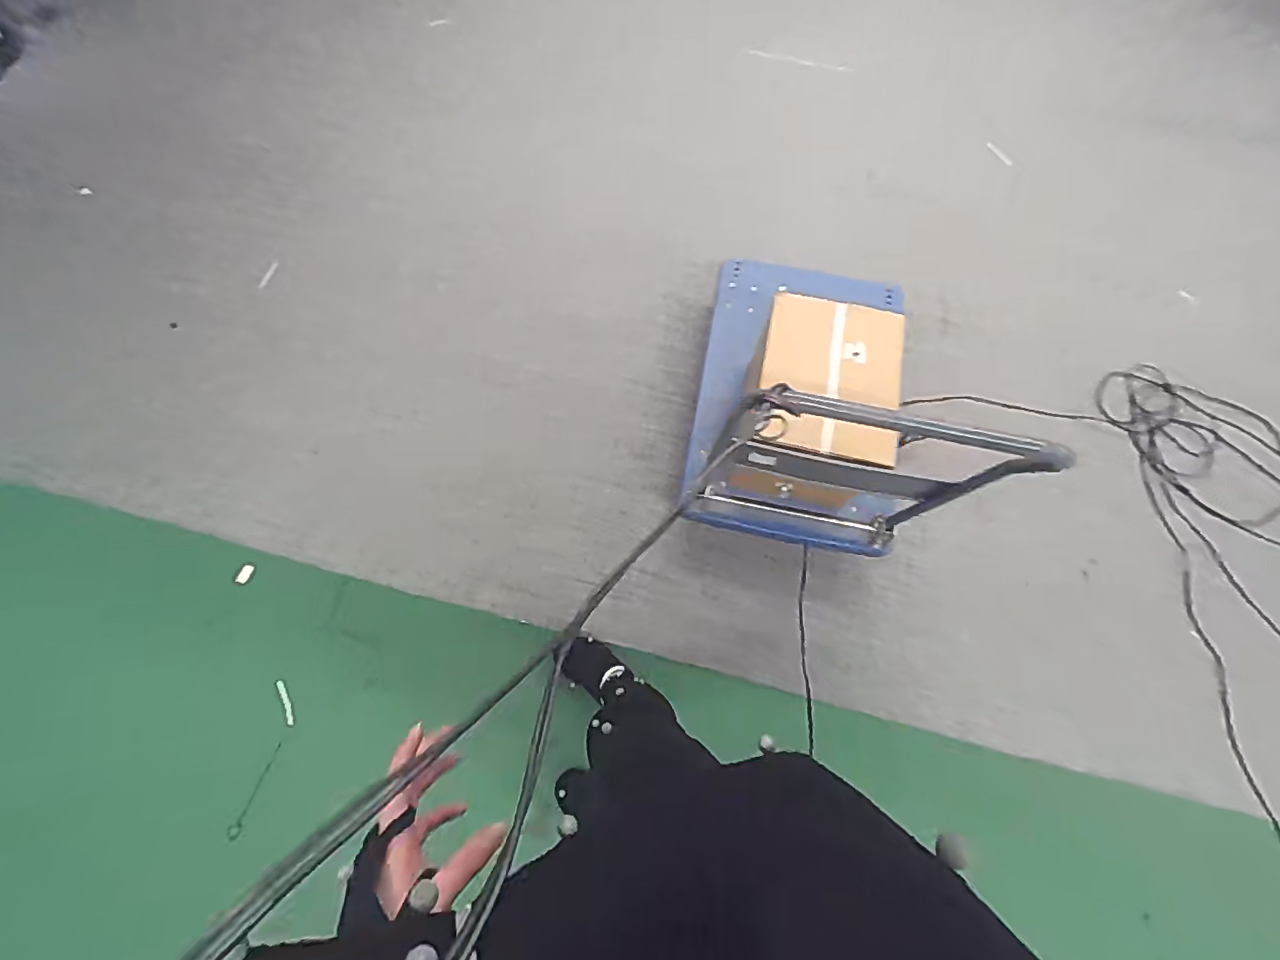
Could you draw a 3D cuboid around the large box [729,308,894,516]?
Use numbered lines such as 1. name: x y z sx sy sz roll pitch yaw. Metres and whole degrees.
1. large box: 0.427 -0.161 1.389 0.320 0.320 0.408 13 68 3
